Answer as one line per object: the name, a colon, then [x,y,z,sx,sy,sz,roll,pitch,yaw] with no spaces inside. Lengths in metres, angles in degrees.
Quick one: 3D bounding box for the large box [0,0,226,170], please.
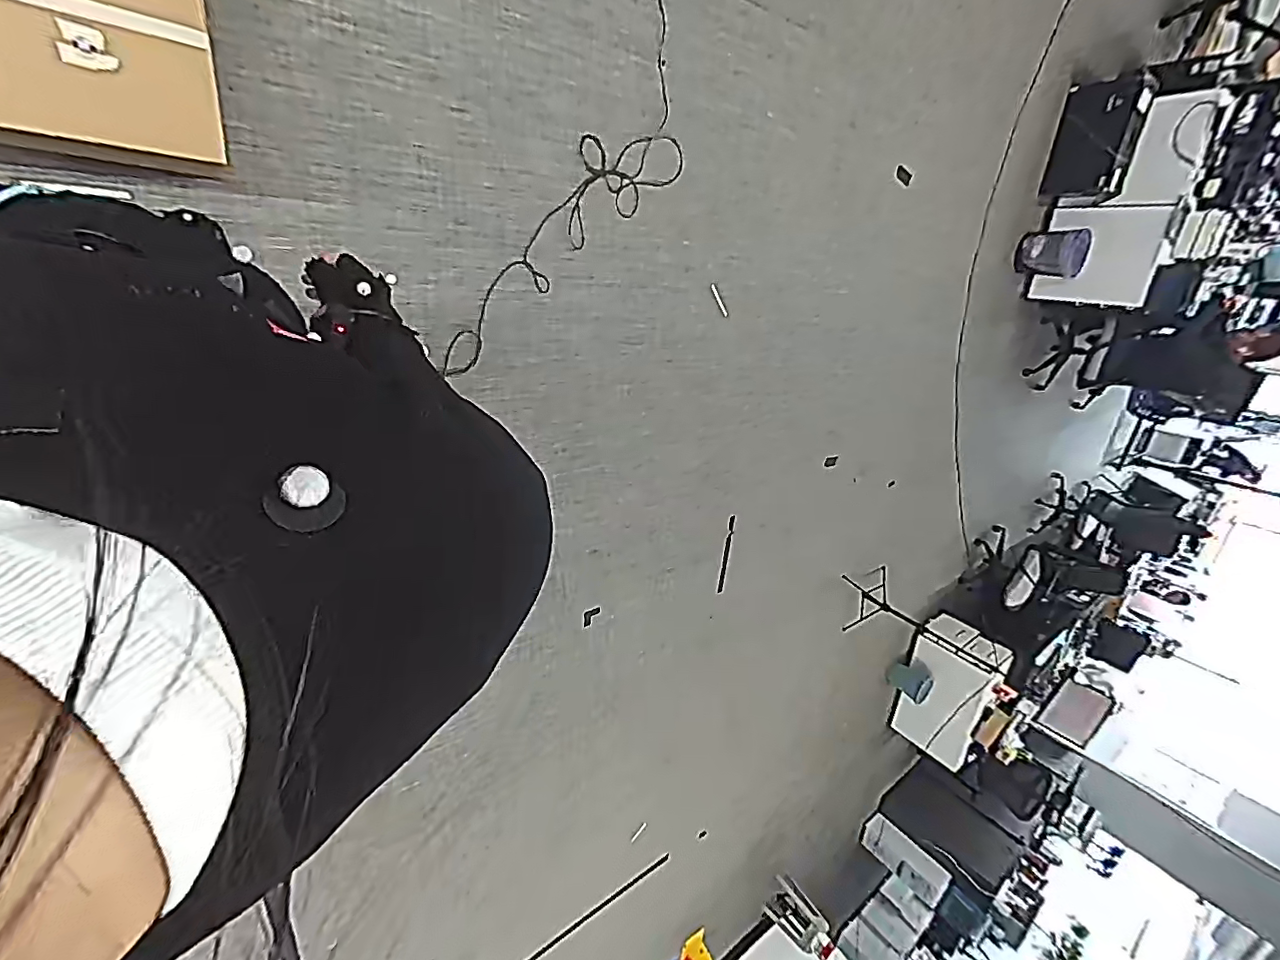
large box: [-0.876,-0.662,0.772,0.408,0.320,0.320,-11,117,-37]
